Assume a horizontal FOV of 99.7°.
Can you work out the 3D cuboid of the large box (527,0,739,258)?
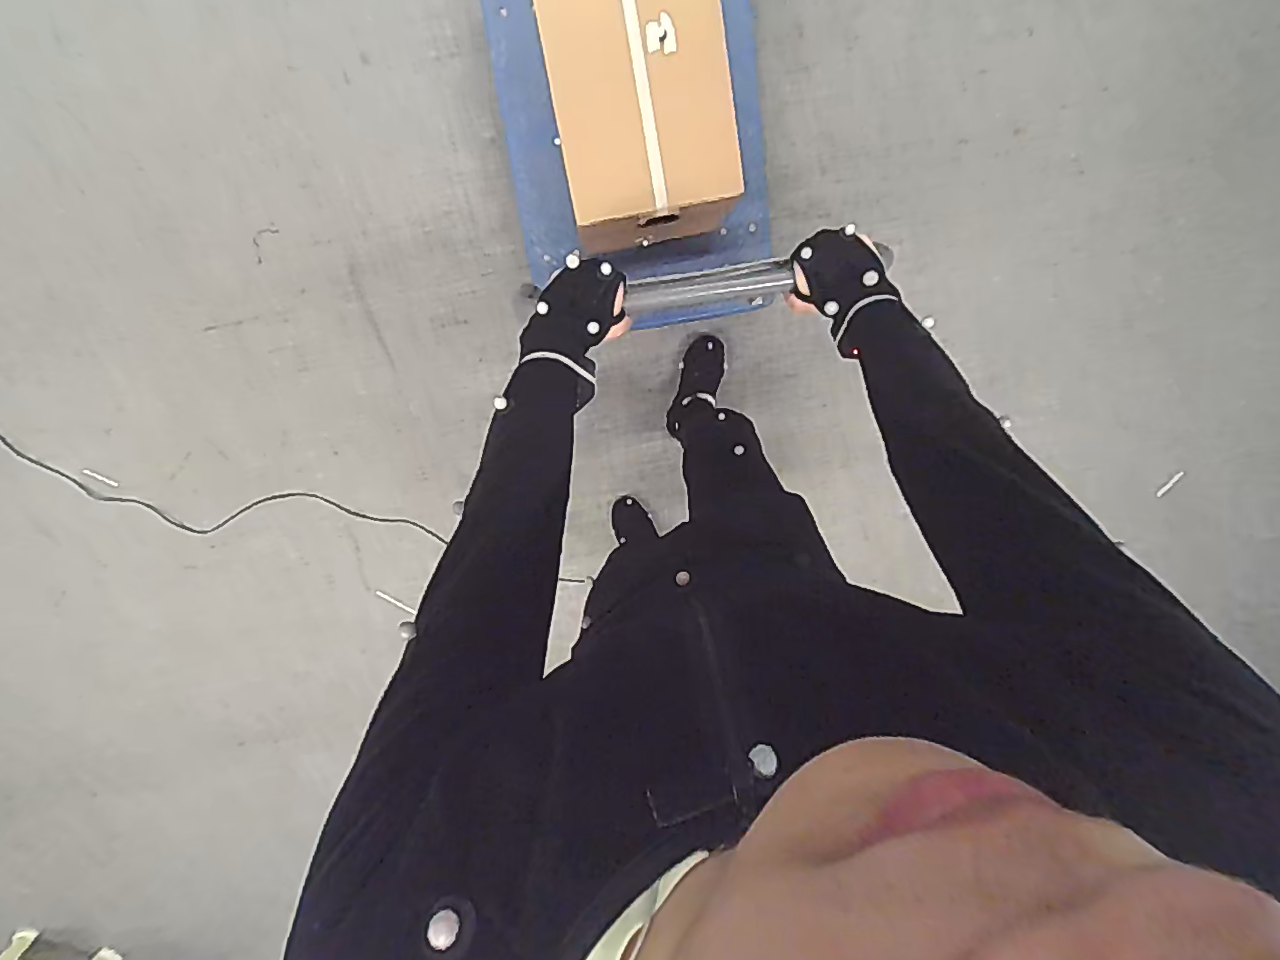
[{"bbox_3d":[-0.009,-0.713,1.096,0.320,0.320,0.408,-11,103,0],"label":"large box"}]
